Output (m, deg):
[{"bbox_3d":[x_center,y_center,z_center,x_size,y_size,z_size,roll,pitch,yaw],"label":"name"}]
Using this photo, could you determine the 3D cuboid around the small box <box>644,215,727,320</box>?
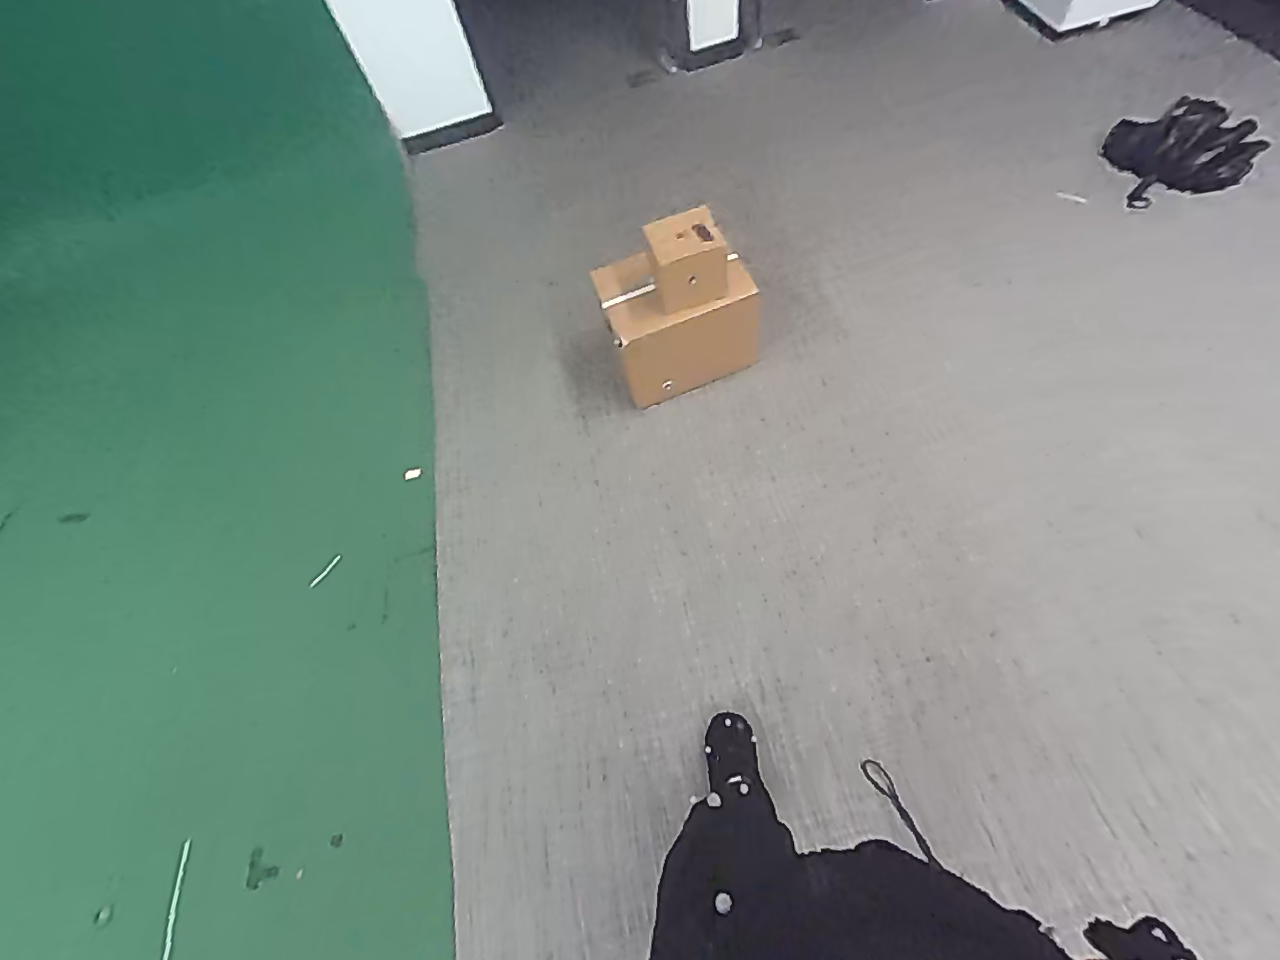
[{"bbox_3d":[0.123,-0.560,1.439,0.179,0.176,0.168,-18,61,1],"label":"small box"}]
